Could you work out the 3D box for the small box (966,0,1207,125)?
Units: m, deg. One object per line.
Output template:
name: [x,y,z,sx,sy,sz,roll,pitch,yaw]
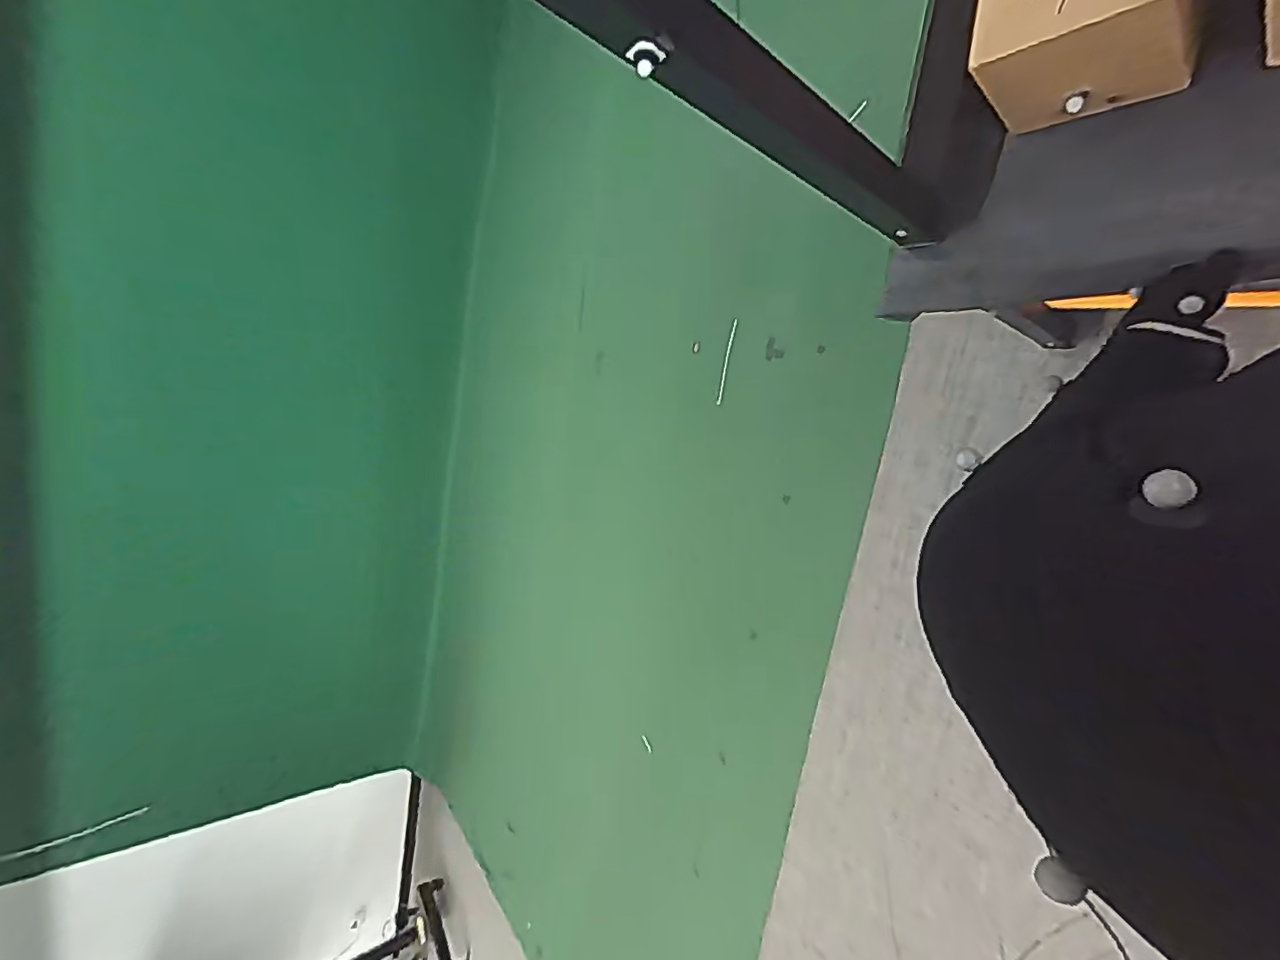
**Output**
small box: [0.481,-0.525,0.573,0.168,0.176,0.179,15,101,49]
